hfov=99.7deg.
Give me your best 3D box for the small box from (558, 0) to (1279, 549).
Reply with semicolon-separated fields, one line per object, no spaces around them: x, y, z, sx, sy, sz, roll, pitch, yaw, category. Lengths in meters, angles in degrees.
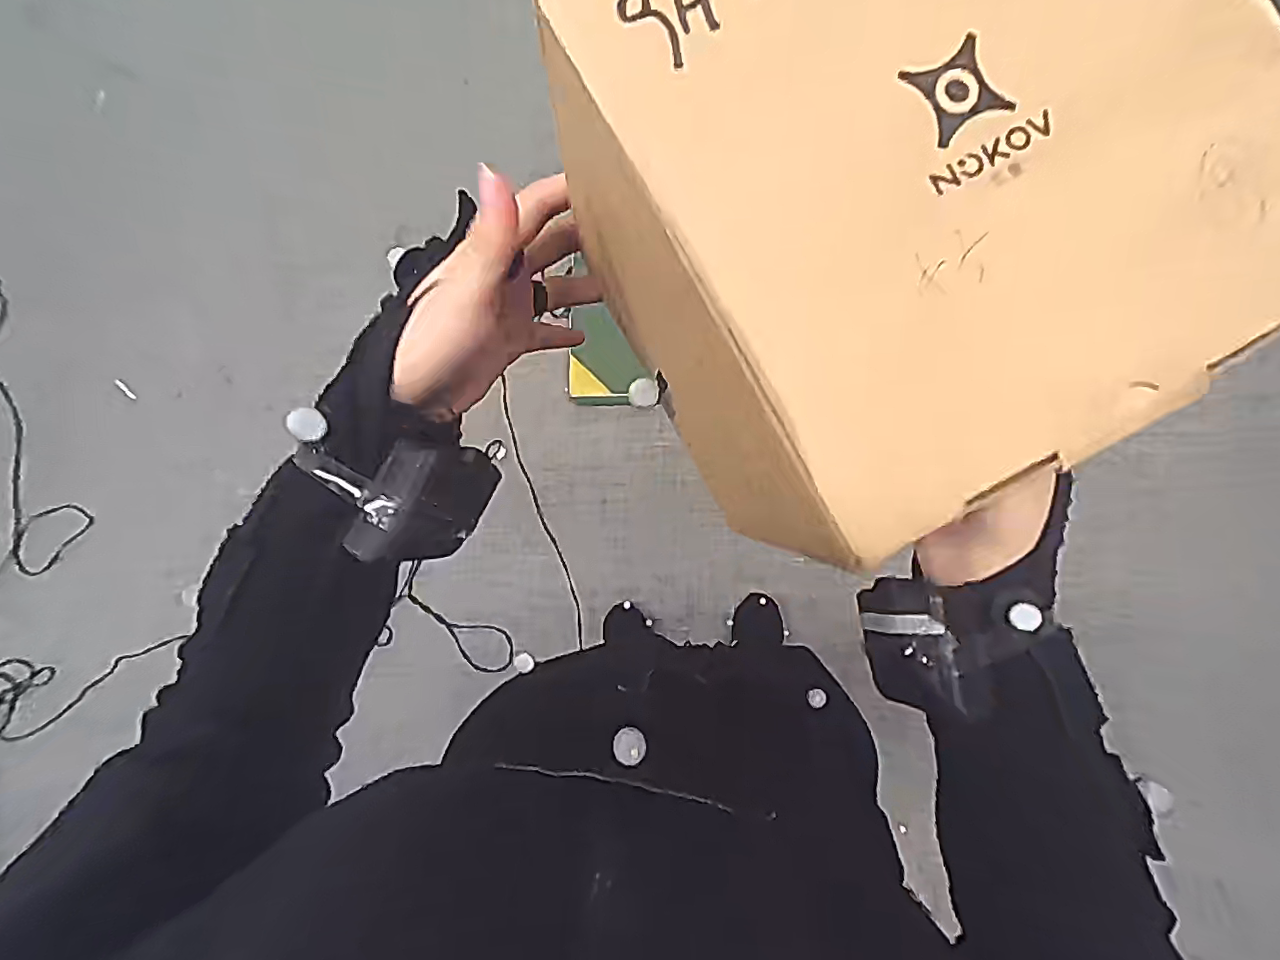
0.086;-0.092;0.230;0.168;0.176;0.179;-29;89;-3;small box
